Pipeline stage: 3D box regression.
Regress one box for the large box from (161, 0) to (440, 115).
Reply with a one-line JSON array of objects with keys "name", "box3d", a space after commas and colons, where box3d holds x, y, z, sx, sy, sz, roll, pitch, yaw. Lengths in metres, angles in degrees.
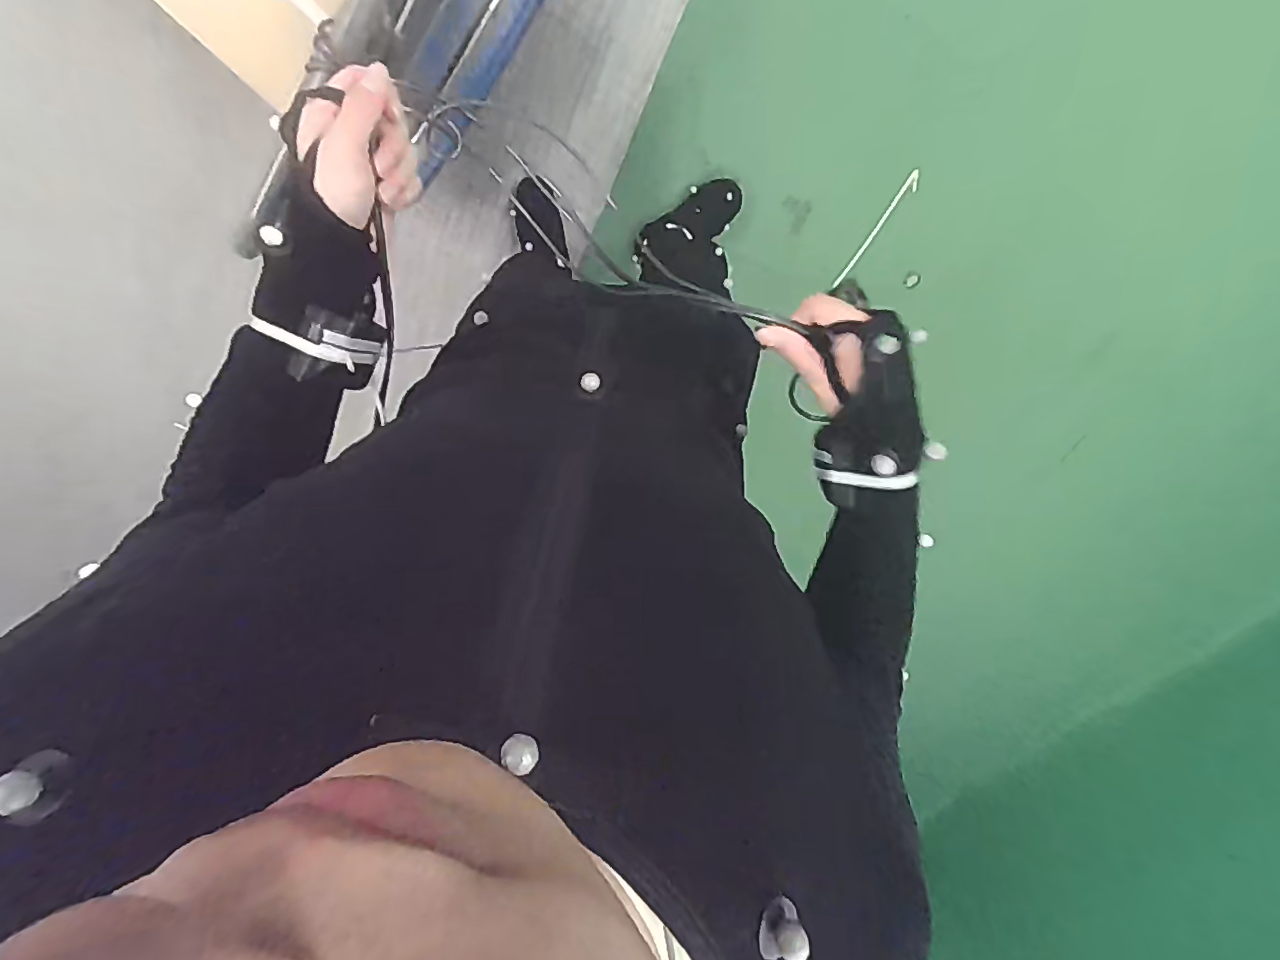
[{"name": "large box", "box3d": [-0.576, -0.860, 0.836, 0.320, 0.320, 0.408, -39, 116, 23]}]
